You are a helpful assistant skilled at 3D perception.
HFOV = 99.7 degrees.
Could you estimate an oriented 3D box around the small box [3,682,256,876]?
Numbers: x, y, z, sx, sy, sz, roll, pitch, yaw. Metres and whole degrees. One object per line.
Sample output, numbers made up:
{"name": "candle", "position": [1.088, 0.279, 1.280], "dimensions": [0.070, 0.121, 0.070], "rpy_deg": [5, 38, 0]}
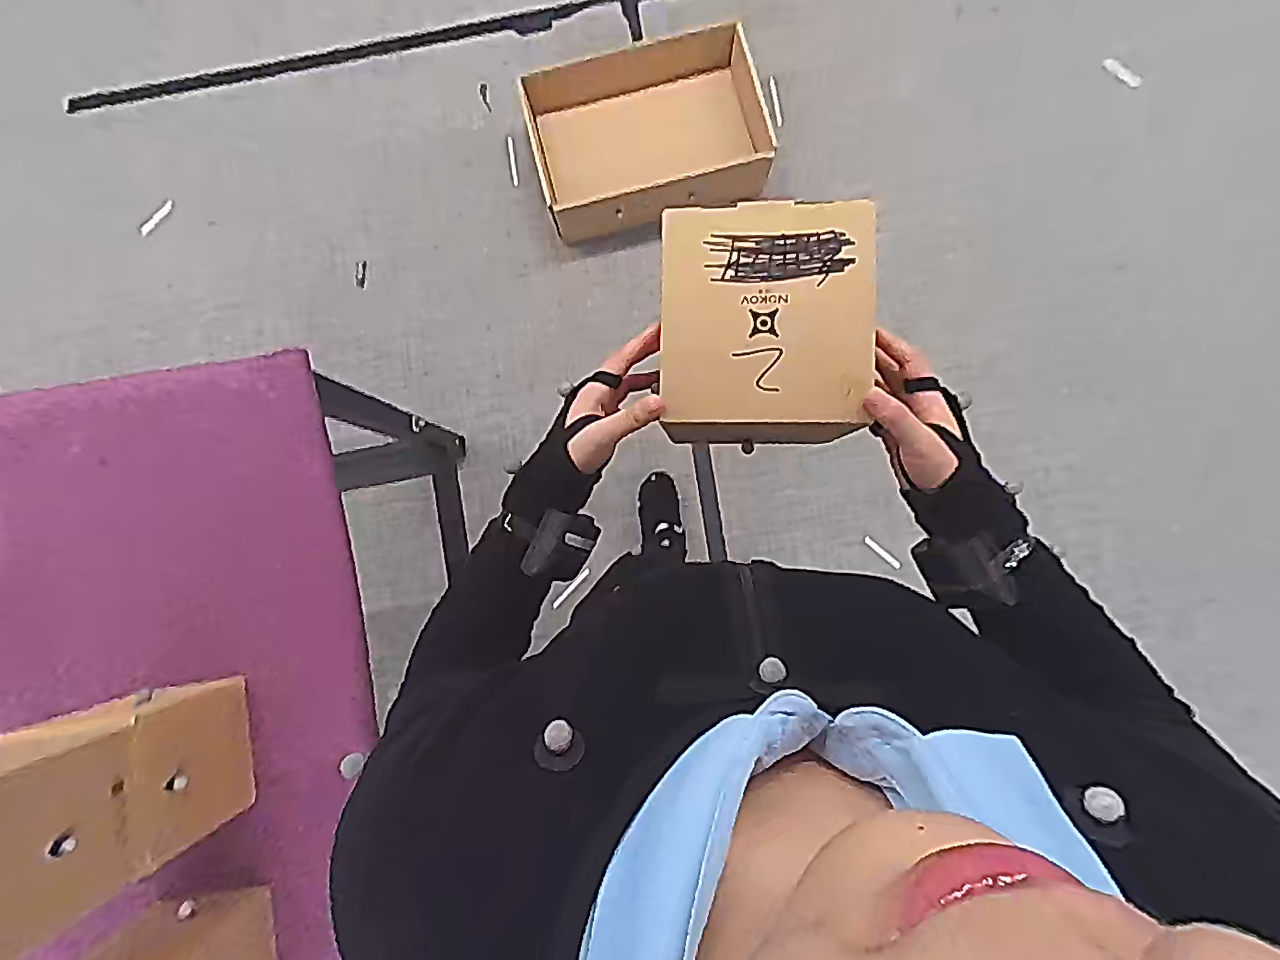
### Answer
{"name": "small box", "position": [-0.630, 0.370, 0.687], "dimensions": [0.168, 0.176, 0.179], "rpy_deg": [-9, 85, 1]}

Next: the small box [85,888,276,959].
{"name": "small box", "position": [-0.574, 0.648, 0.657], "dimensions": [0.168, 0.176, 0.179], "rpy_deg": [-10, 84, 1]}

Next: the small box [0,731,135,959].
{"name": "small box", "position": [-0.641, 0.362, 0.523], "dimensions": [0.179, 0.176, 0.168], "rpy_deg": [-9, 85, 1]}
